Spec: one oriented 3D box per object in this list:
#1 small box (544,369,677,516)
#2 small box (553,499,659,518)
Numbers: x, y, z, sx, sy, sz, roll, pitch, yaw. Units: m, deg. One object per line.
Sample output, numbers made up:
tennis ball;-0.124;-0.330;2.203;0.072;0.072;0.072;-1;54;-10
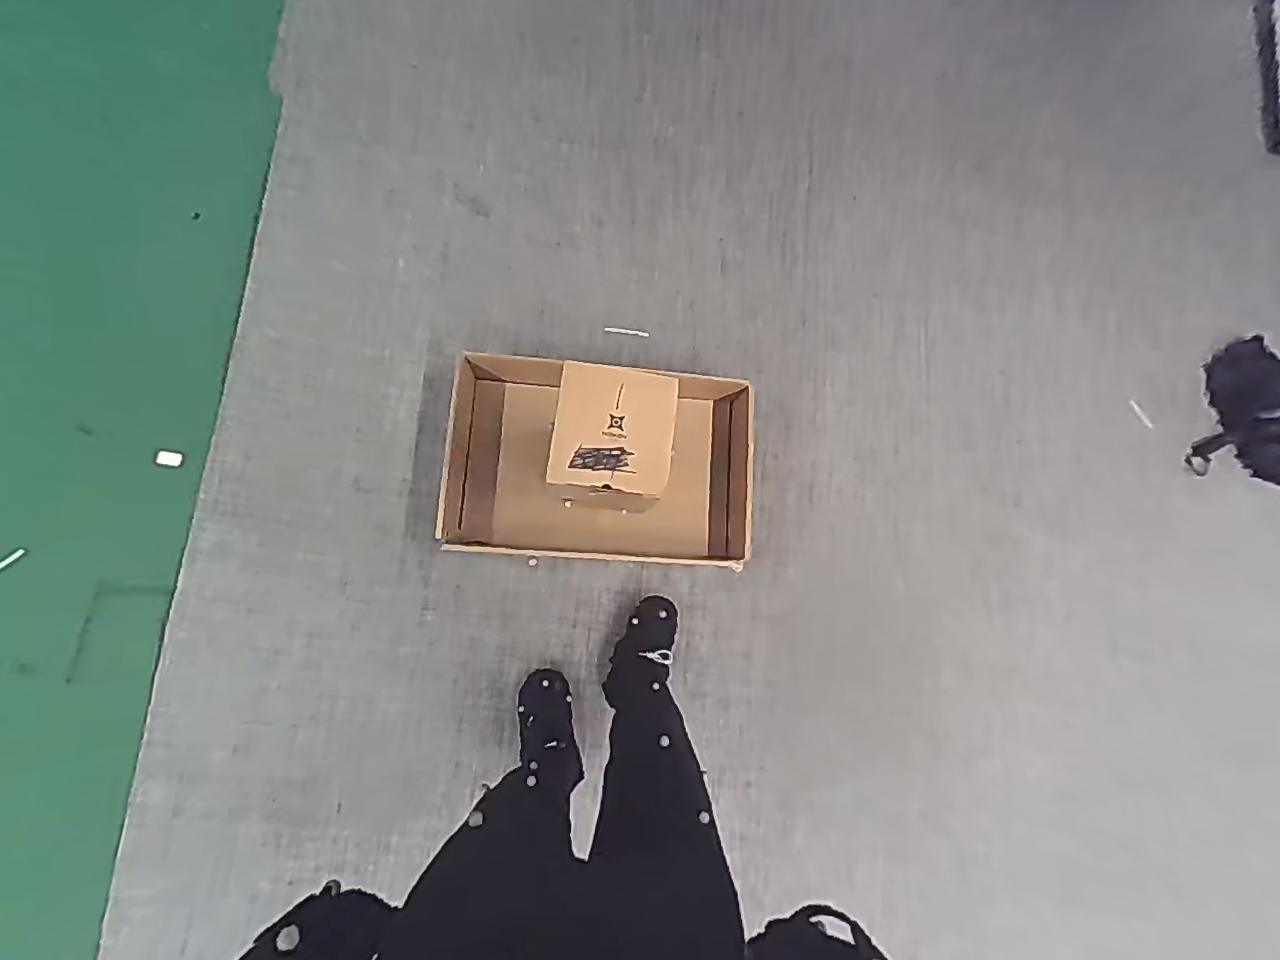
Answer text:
small box;-0.047;-0.046;0.825;0.168;0.176;0.179;9;78;-6
small box;-0.061;-0.024;0.971;0.179;0.176;0.168;4;80;-7
